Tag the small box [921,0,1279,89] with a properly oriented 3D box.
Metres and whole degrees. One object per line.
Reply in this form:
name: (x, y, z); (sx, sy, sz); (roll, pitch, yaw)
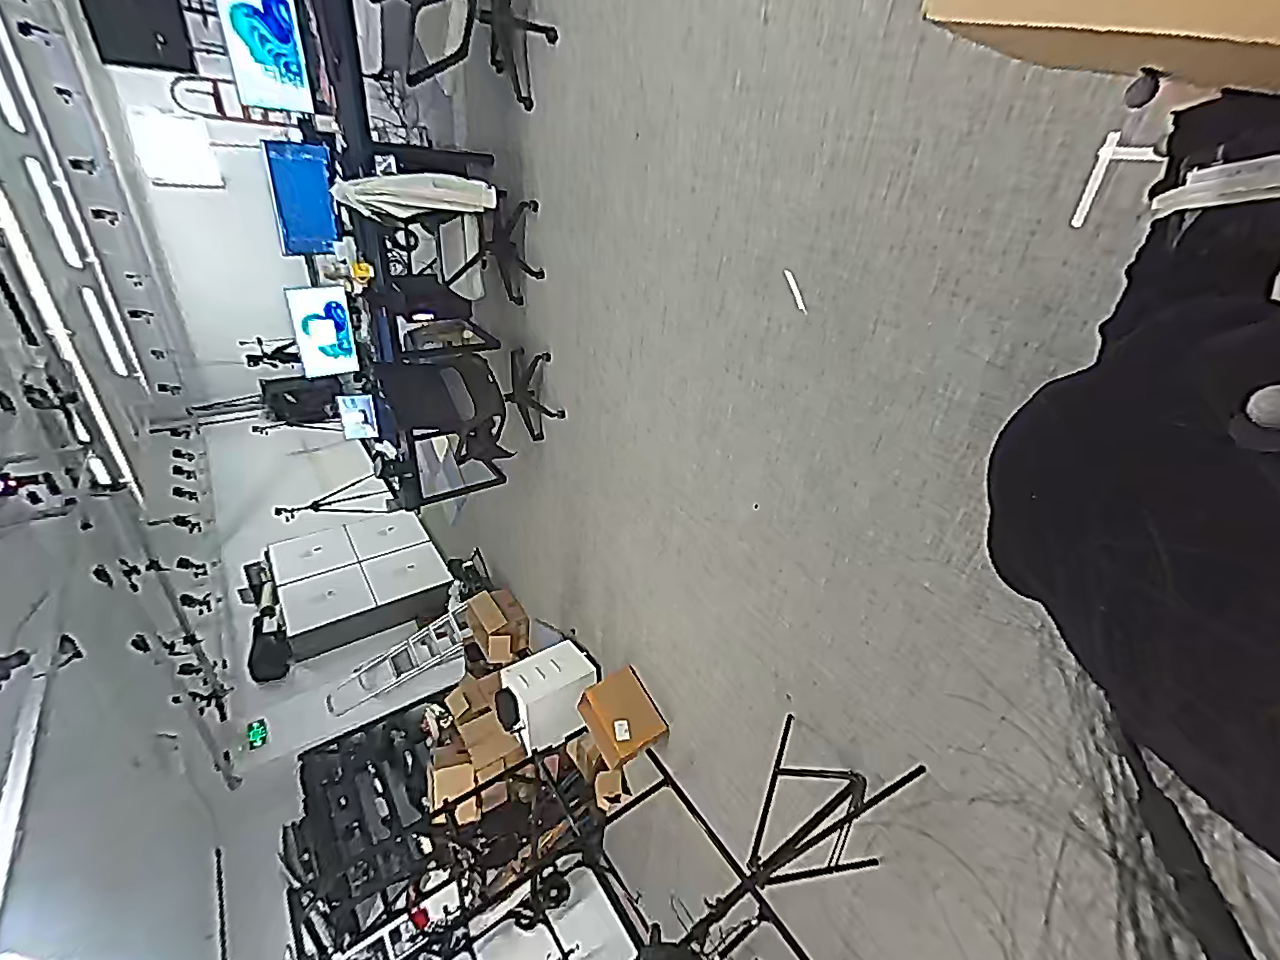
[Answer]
small box: (0.285, -0.299, 0.251); (0.179, 0.176, 0.168); (44, 138, 35)
